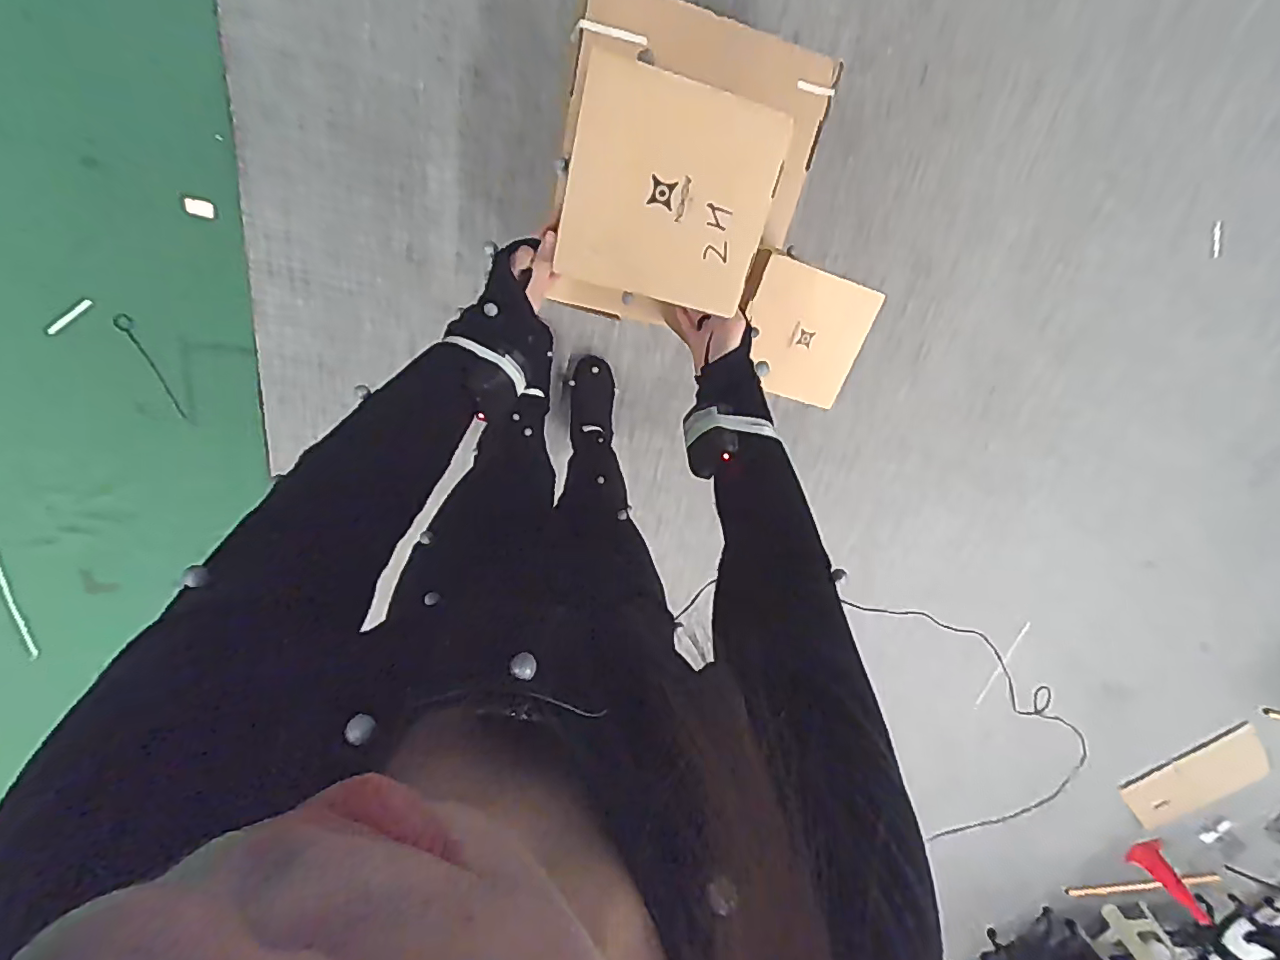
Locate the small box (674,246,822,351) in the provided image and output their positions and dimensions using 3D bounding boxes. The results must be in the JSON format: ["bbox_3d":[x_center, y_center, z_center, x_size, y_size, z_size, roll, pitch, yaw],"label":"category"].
[{"bbox_3d":[0.166,-0.302,0.908,0.168,0.176,0.179,11,114,-16],"label":"small box"}]

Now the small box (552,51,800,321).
[{"bbox_3d":[0.018,-0.269,0.523,0.179,0.176,0.168,11,115,-13],"label":"small box"}]

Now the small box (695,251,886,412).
[{"bbox_3d":[0.200,-0.219,0.772,0.179,0.176,0.168,13,115,-16],"label":"small box"}]
